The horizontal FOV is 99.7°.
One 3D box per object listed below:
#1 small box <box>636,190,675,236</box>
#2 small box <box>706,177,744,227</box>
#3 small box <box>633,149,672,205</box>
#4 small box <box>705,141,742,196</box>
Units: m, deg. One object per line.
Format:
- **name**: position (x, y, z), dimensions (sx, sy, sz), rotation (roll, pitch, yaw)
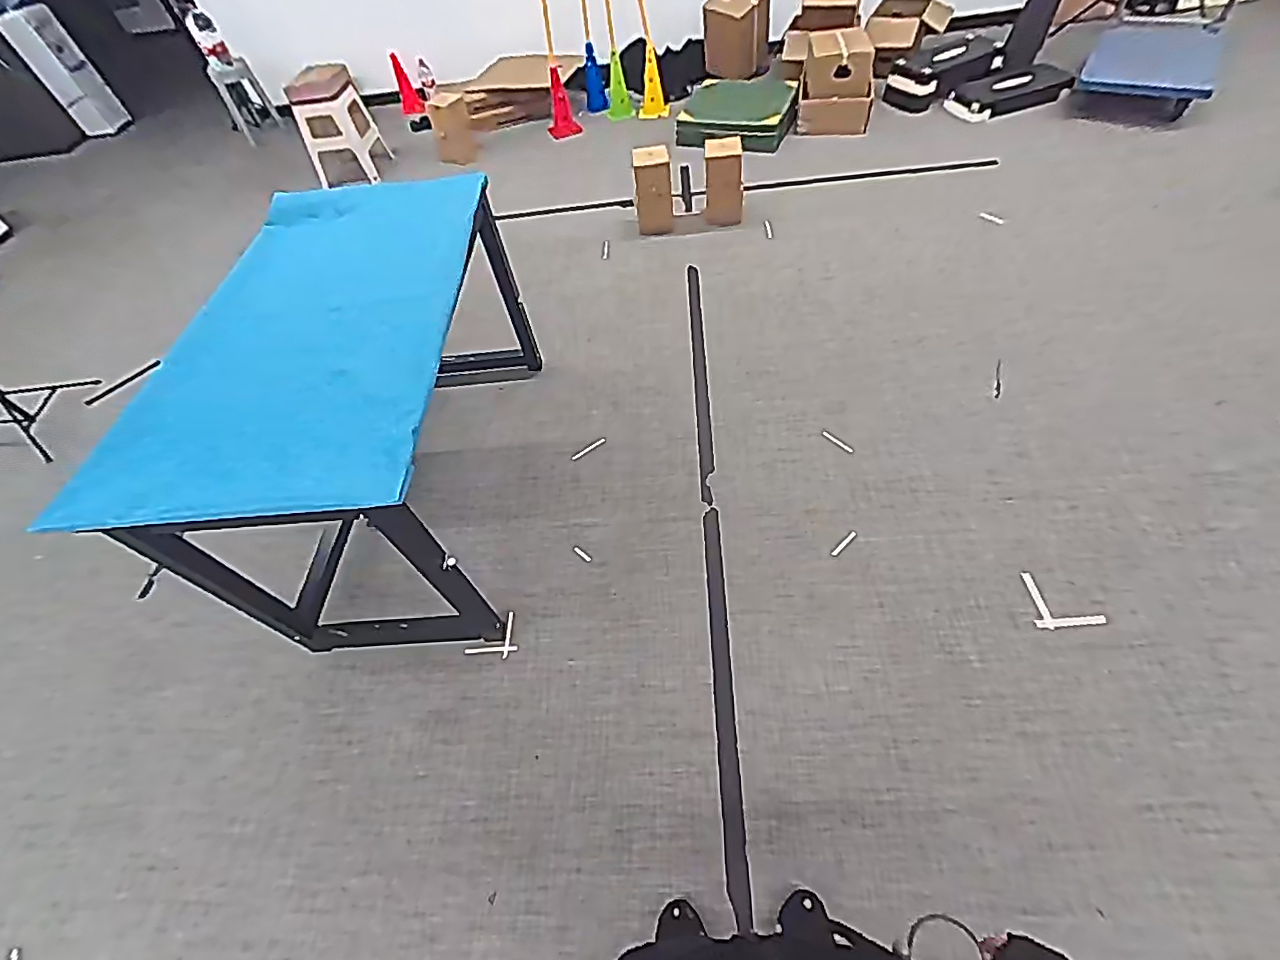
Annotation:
- **small box**: position (0.078, -1.344, 2.710), dimensions (0.179, 0.176, 0.168), rotation (-5, 54, 3)
- **small box**: position (0.420, -1.385, 2.696), dimensions (0.179, 0.176, 0.168), rotation (0, 54, 6)
- **small box**: position (0.061, -1.445, 2.581), dimensions (0.168, 0.176, 0.179), rotation (-7, 54, 3)
- **small box**: position (0.393, -1.476, 2.564), dimensions (0.168, 0.176, 0.179), rotation (-2, 55, 8)
